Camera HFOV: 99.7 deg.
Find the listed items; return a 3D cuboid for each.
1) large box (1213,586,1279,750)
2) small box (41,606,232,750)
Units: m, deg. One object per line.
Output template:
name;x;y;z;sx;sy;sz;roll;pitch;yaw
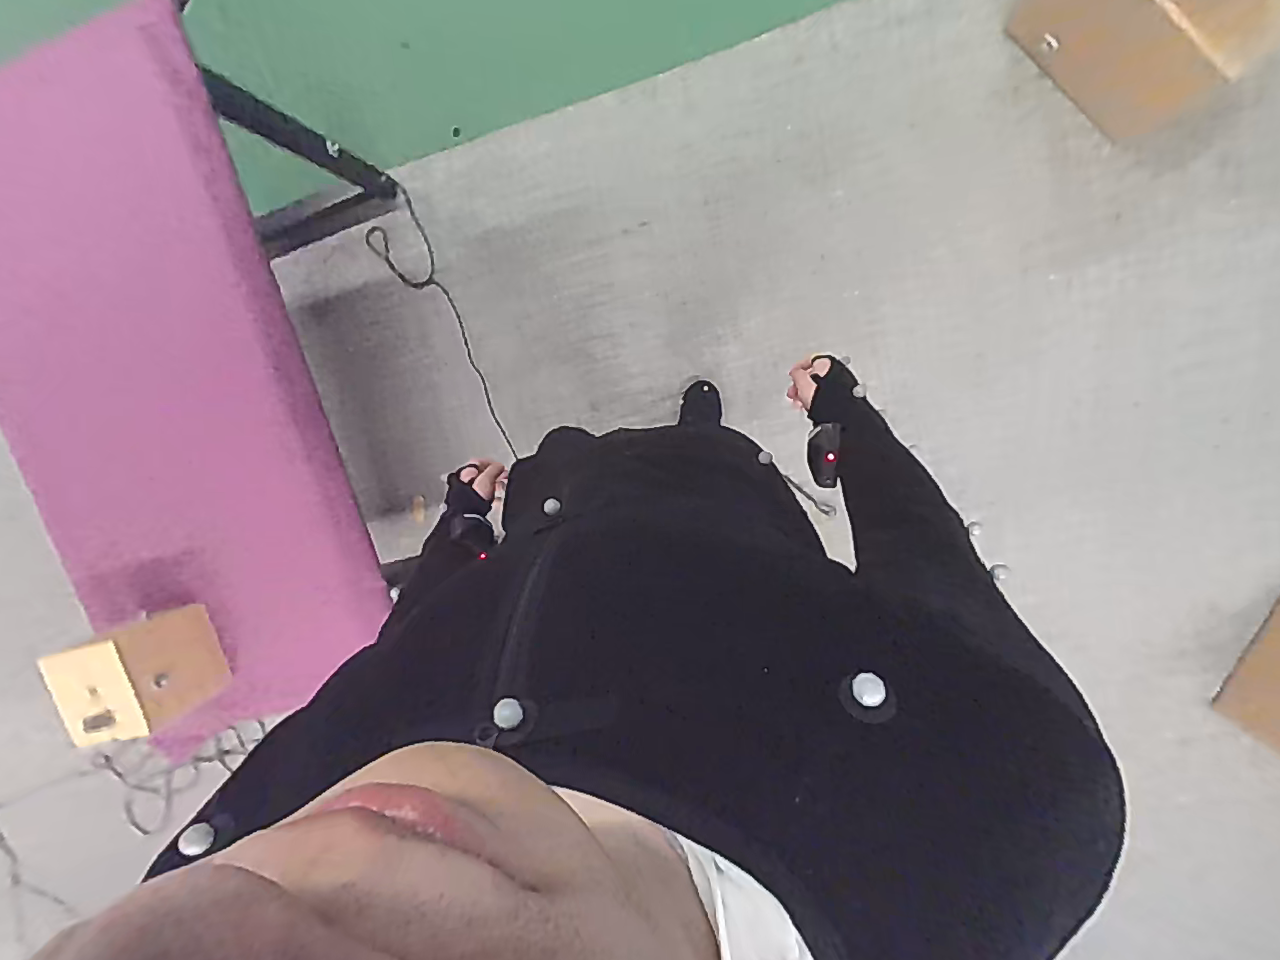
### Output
large box;1.805;0.526;1.347;0.320;0.320;0.408;18;102;3
small box;-0.910;0.358;0.997;0.168;0.176;0.179;-14;99;10
